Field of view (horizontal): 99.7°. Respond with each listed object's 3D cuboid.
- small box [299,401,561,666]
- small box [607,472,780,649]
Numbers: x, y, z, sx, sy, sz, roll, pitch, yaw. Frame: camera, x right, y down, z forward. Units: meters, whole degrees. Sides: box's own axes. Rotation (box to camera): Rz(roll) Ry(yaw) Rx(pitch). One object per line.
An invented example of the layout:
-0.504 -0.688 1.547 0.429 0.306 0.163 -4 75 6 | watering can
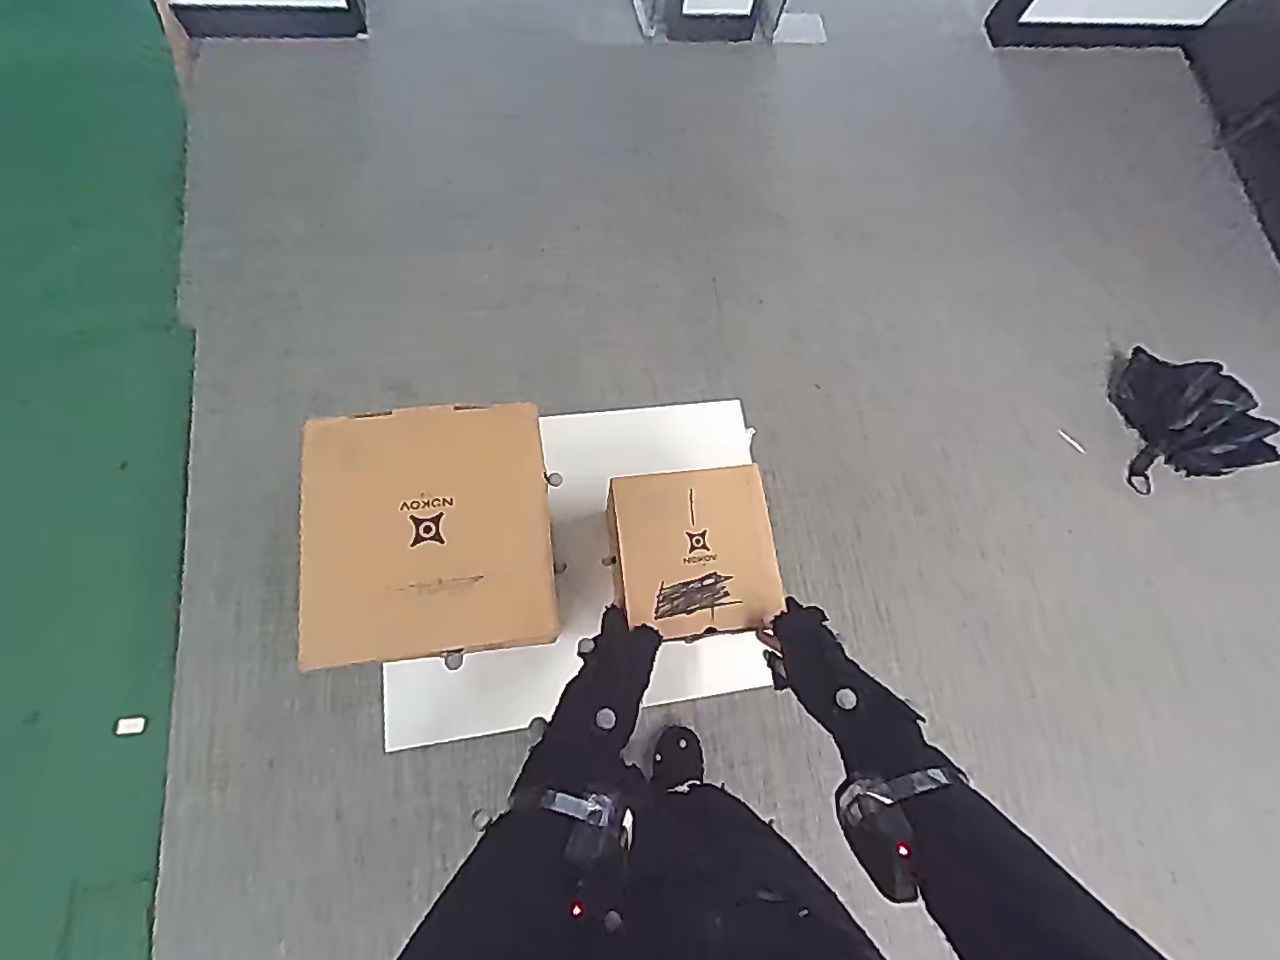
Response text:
-0.157 0.051 0.452 0.168 0.176 0.179 -6 76 -8 | small box
0.050 0.102 0.648 0.168 0.176 0.179 -5 73 -7 | small box
